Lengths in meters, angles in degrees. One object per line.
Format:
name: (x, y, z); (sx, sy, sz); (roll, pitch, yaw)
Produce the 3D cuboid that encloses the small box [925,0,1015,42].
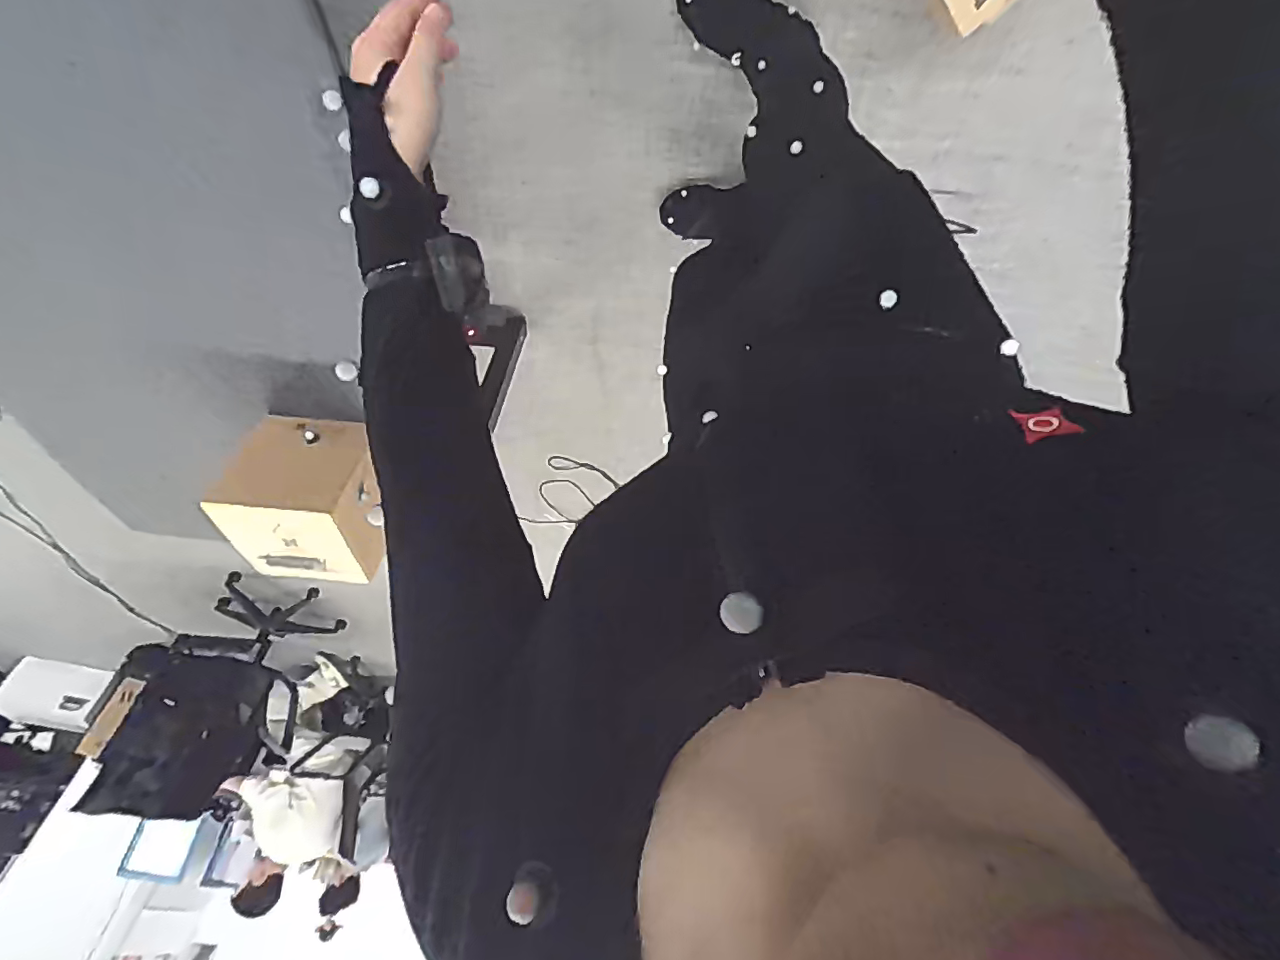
small box: (0.512, -0.826, 0.816); (0.179, 0.176, 0.168); (33, 132, -28)
